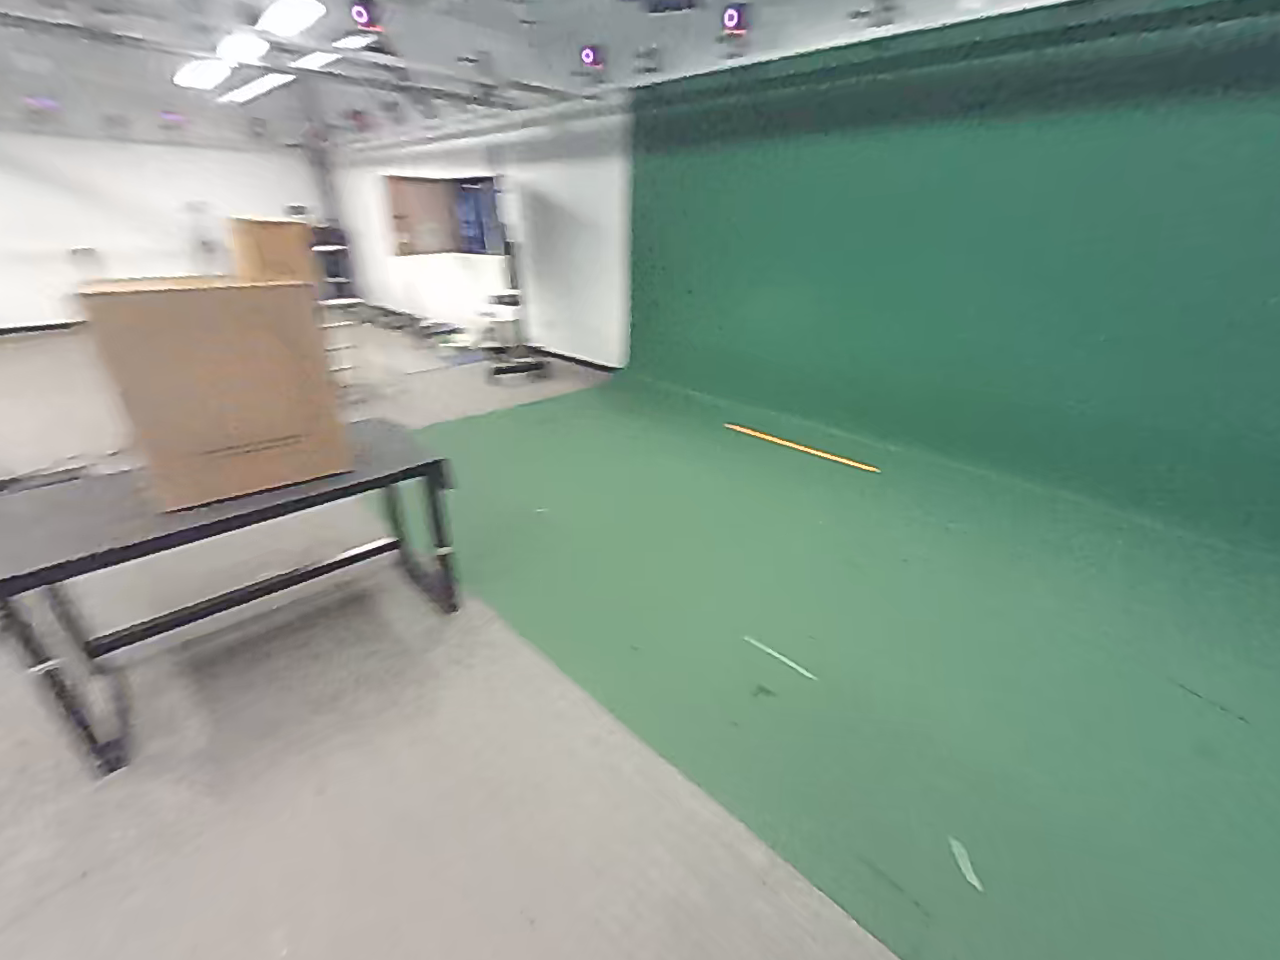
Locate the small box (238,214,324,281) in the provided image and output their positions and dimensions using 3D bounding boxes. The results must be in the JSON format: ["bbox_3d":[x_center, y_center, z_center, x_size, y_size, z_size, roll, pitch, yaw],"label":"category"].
[{"bbox_3d":[-1.086,-0.704,1.638,0.179,0.176,0.168,26,33,37],"label":"small box"}]
